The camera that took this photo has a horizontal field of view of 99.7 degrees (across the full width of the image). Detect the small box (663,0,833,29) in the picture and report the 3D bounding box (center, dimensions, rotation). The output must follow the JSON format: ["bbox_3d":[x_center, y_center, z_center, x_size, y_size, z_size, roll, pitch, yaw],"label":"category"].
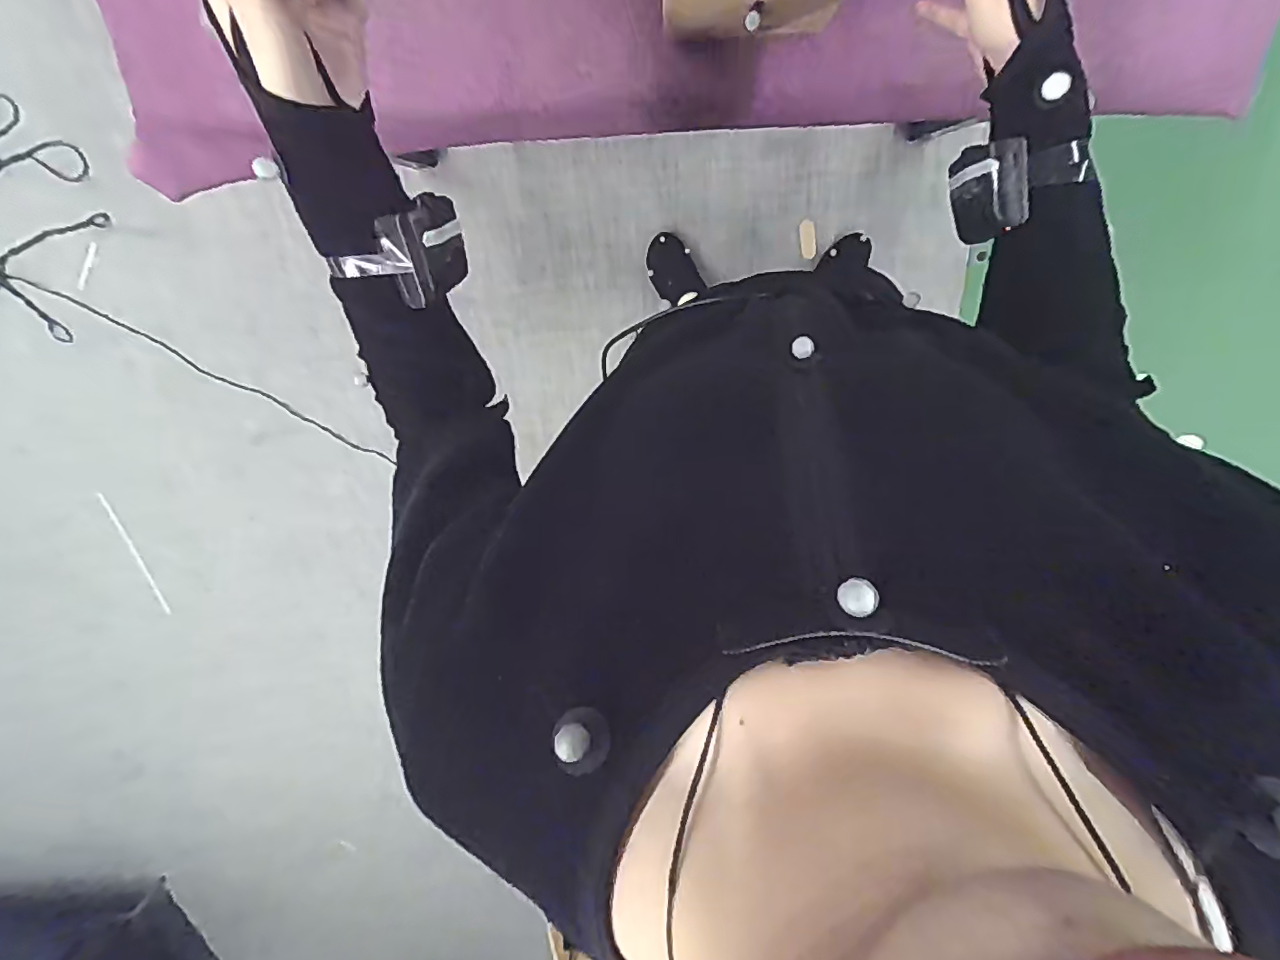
[{"bbox_3d":[0.099,-0.507,0.449,0.168,0.176,0.179,-2,114,3],"label":"small box"}]
